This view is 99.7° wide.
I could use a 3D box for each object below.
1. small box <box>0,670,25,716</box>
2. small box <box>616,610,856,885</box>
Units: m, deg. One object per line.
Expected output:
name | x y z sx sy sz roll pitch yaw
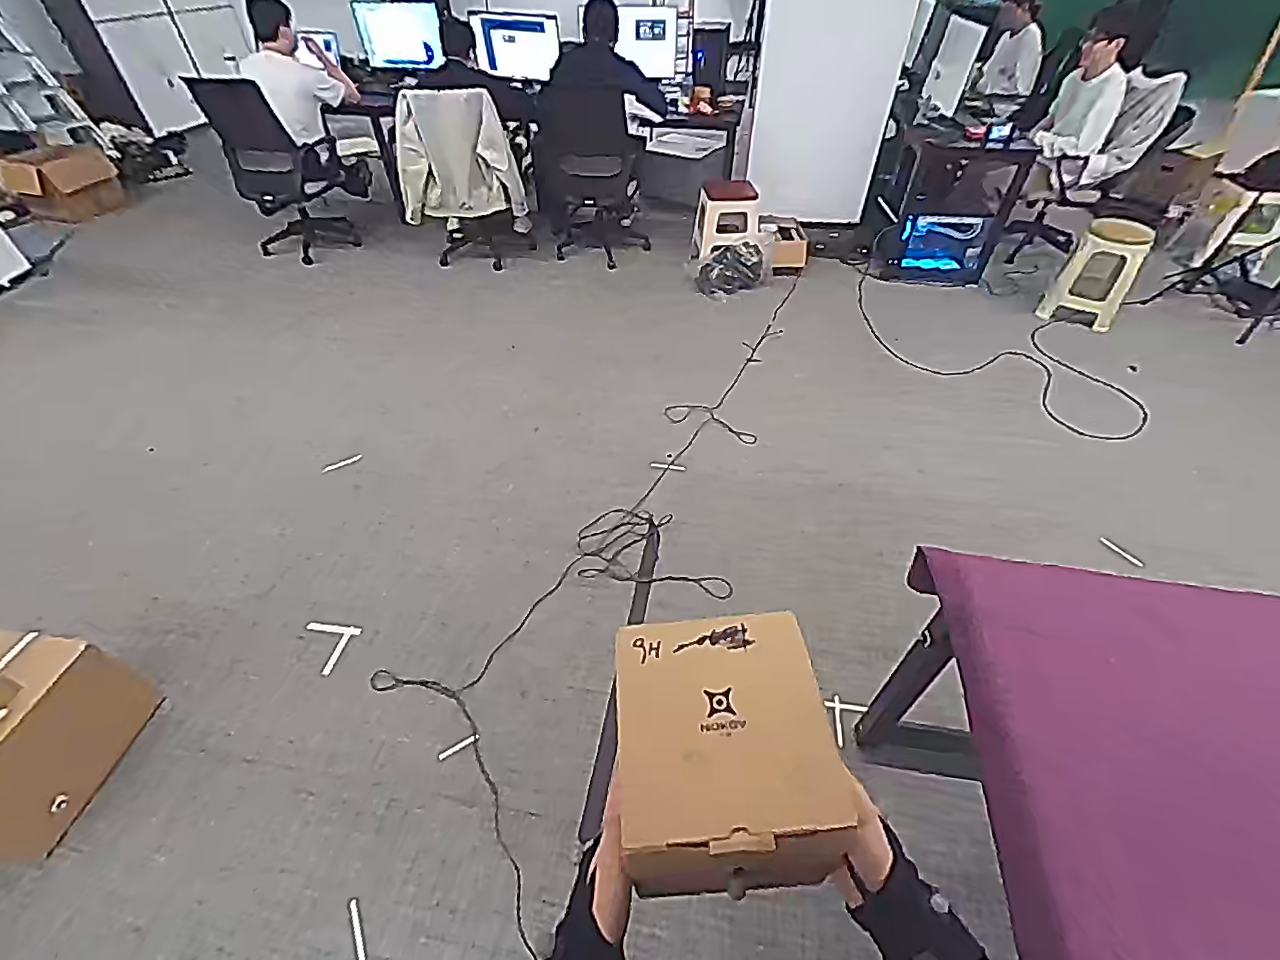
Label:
small box | -1.494 0.463 1.131 0.179 0.176 0.168 5 46 4
small box | 0.070 0.242 0.483 0.168 0.176 0.179 -5 44 0
